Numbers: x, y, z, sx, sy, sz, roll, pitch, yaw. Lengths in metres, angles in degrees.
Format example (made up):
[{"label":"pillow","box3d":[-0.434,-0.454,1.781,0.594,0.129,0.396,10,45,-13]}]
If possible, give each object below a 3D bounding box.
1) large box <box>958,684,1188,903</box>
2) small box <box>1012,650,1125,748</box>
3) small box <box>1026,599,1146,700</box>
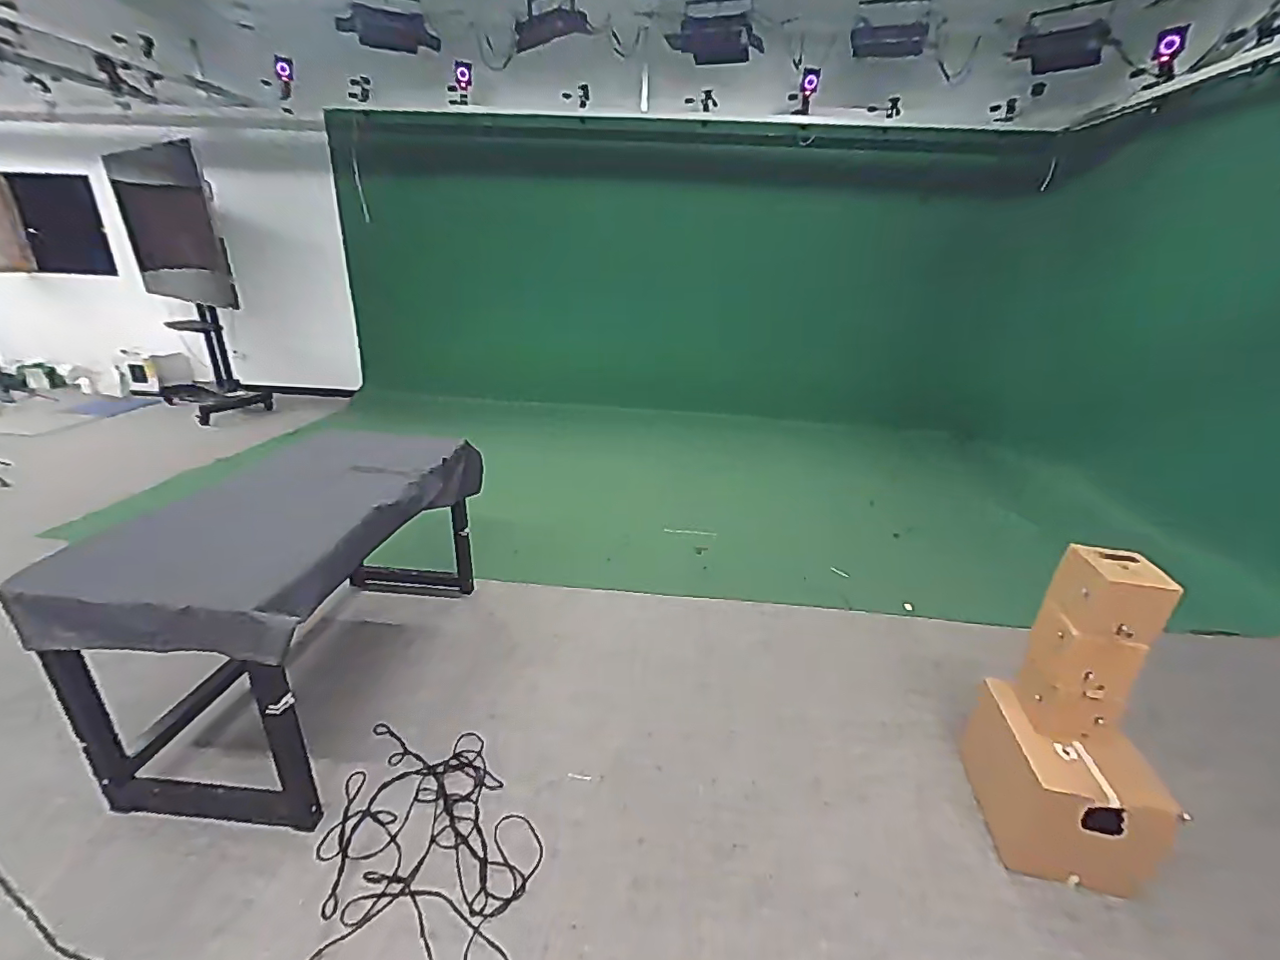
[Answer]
[{"label":"large box","box3d":[1.162,0.854,1.521,0.320,0.320,0.408,5,23,10]},{"label":"small box","box3d":[1.173,0.603,1.496,0.168,0.176,0.179,8,21,9]},{"label":"small box","box3d":[1.175,0.450,1.442,0.168,0.176,0.179,8,23,11]}]
